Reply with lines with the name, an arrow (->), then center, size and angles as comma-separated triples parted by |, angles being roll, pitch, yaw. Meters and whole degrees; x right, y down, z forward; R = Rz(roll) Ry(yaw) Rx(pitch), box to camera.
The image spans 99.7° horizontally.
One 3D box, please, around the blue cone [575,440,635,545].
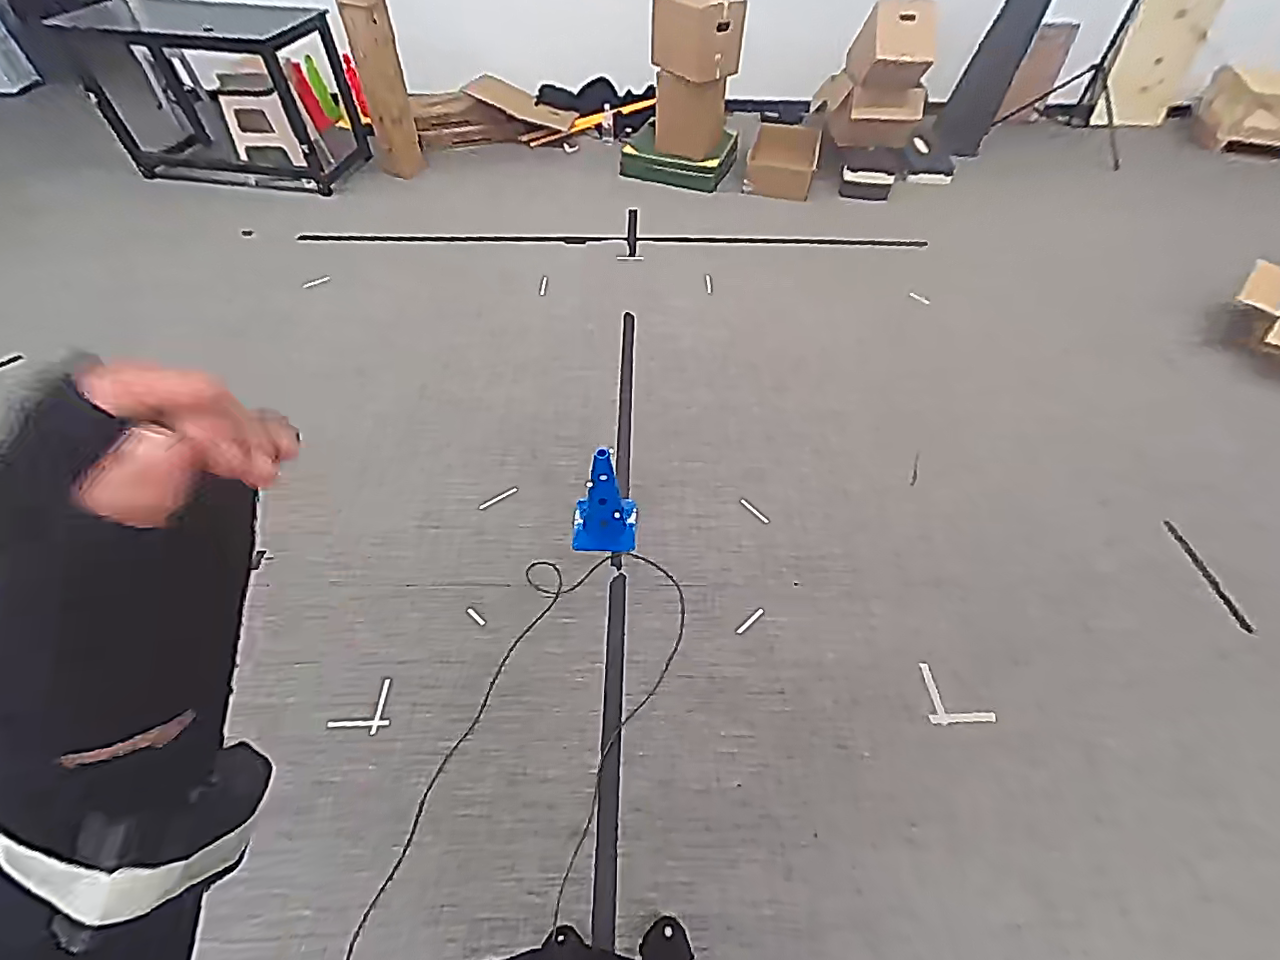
blue cone -> -0.110, 0.026, 1.609 | 0.193, 0.380, 0.192 | 0, 52, -1
